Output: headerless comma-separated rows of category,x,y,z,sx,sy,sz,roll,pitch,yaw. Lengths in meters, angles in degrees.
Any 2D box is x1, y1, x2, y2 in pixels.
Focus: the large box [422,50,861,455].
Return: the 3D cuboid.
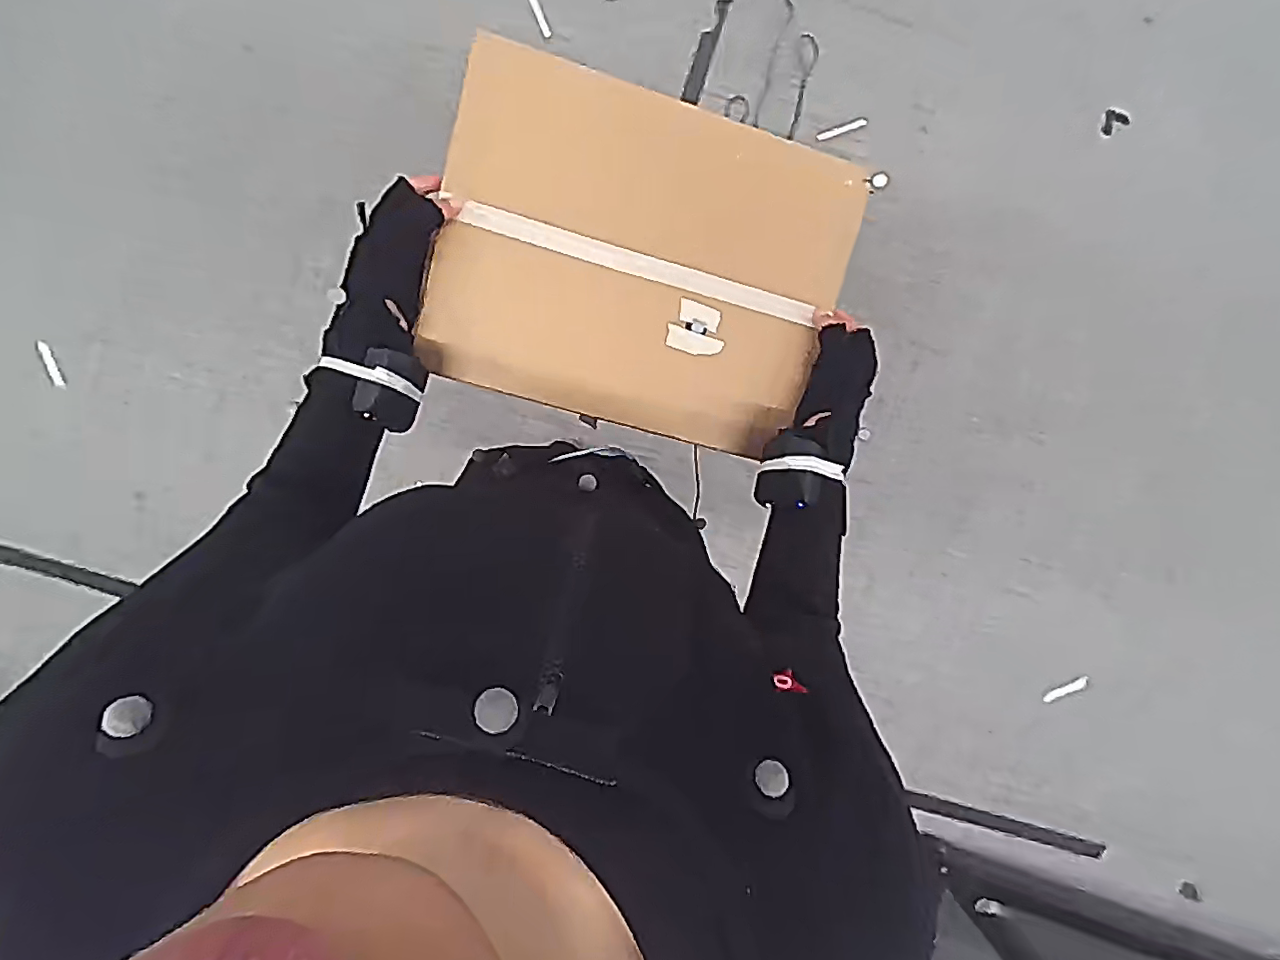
large box,-0.013,-0.239,0.700,0.408,0.320,0.320,14,98,-9
